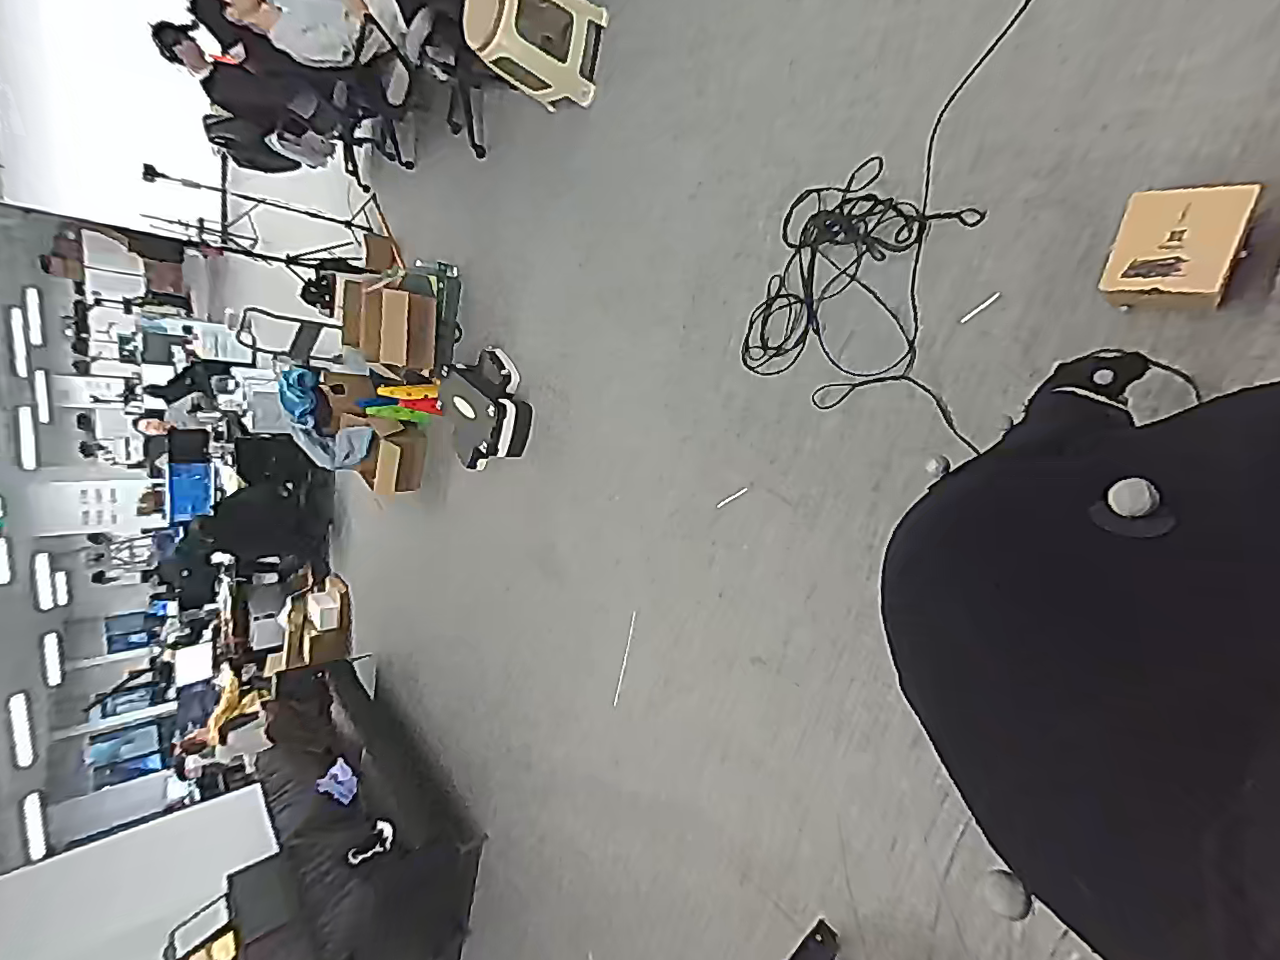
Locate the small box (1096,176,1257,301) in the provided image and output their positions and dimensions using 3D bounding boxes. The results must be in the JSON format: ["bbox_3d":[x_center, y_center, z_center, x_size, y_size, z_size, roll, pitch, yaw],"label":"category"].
[{"bbox_3d":[0.992,-0.438,1.006,0.168,0.176,0.179,23,109,42],"label":"small box"}]
